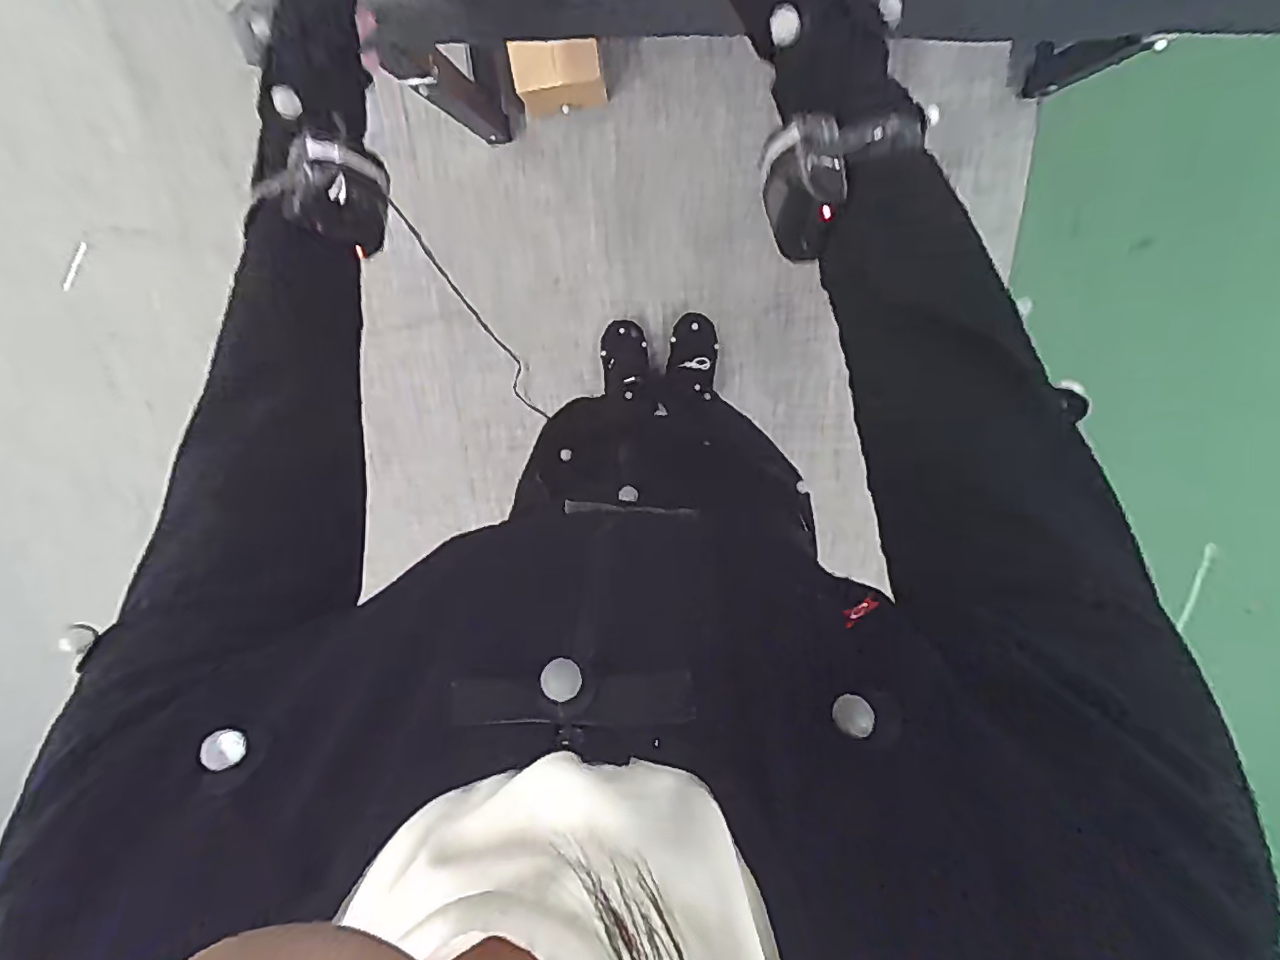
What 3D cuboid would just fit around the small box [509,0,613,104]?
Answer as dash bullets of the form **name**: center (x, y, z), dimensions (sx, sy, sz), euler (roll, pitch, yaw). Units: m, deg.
- **small box**: center (-0.148, -0.863, 1.049), dimensions (0.168, 0.176, 0.179), euler (-6, 113, 5)
